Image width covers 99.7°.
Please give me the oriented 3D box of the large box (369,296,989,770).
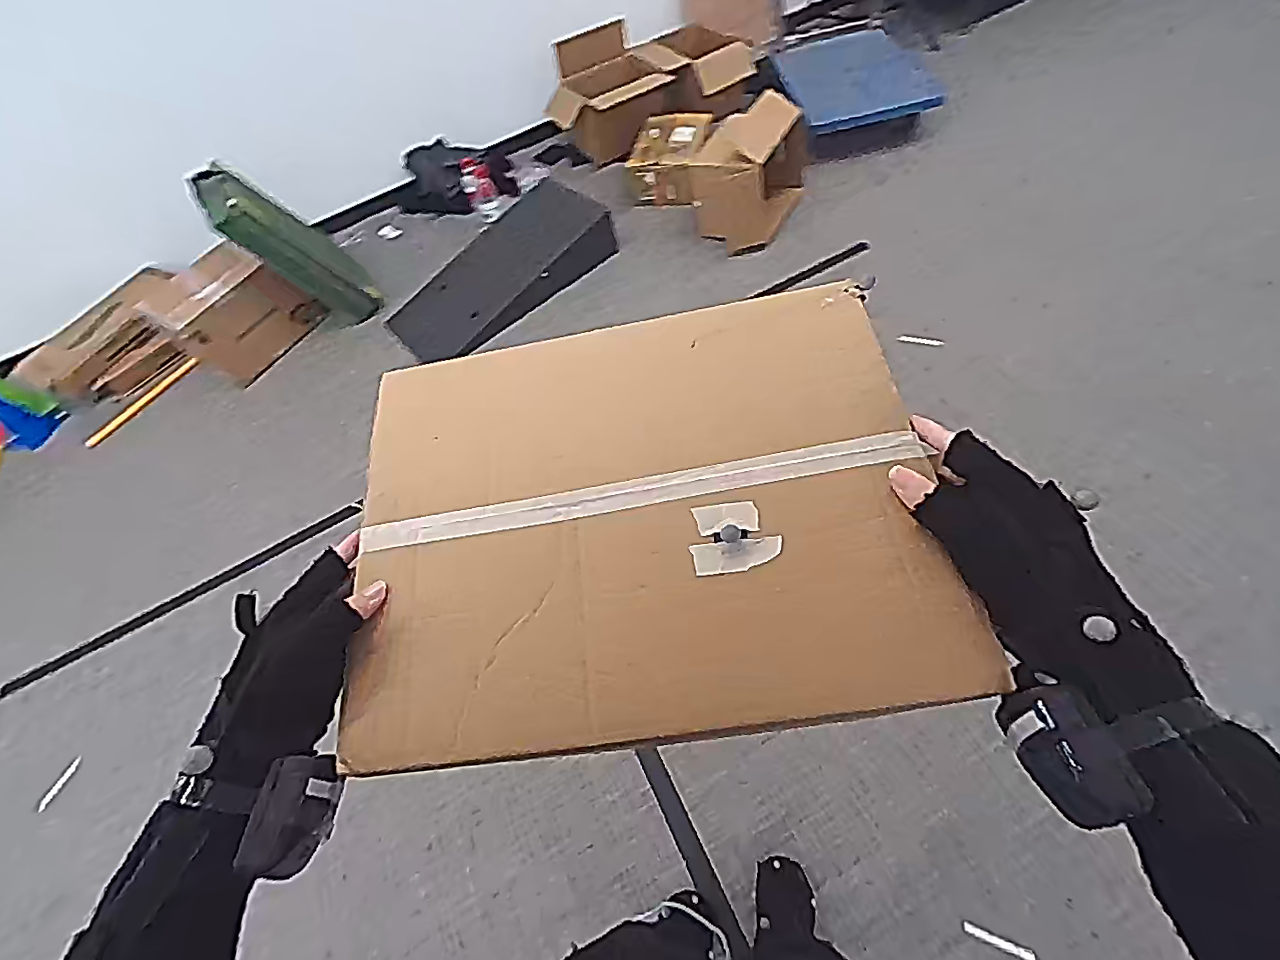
[{"bbox_3d":[0.018,0.079,0.535,0.408,0.320,0.320,-10,64,4],"label":"large box"}]
